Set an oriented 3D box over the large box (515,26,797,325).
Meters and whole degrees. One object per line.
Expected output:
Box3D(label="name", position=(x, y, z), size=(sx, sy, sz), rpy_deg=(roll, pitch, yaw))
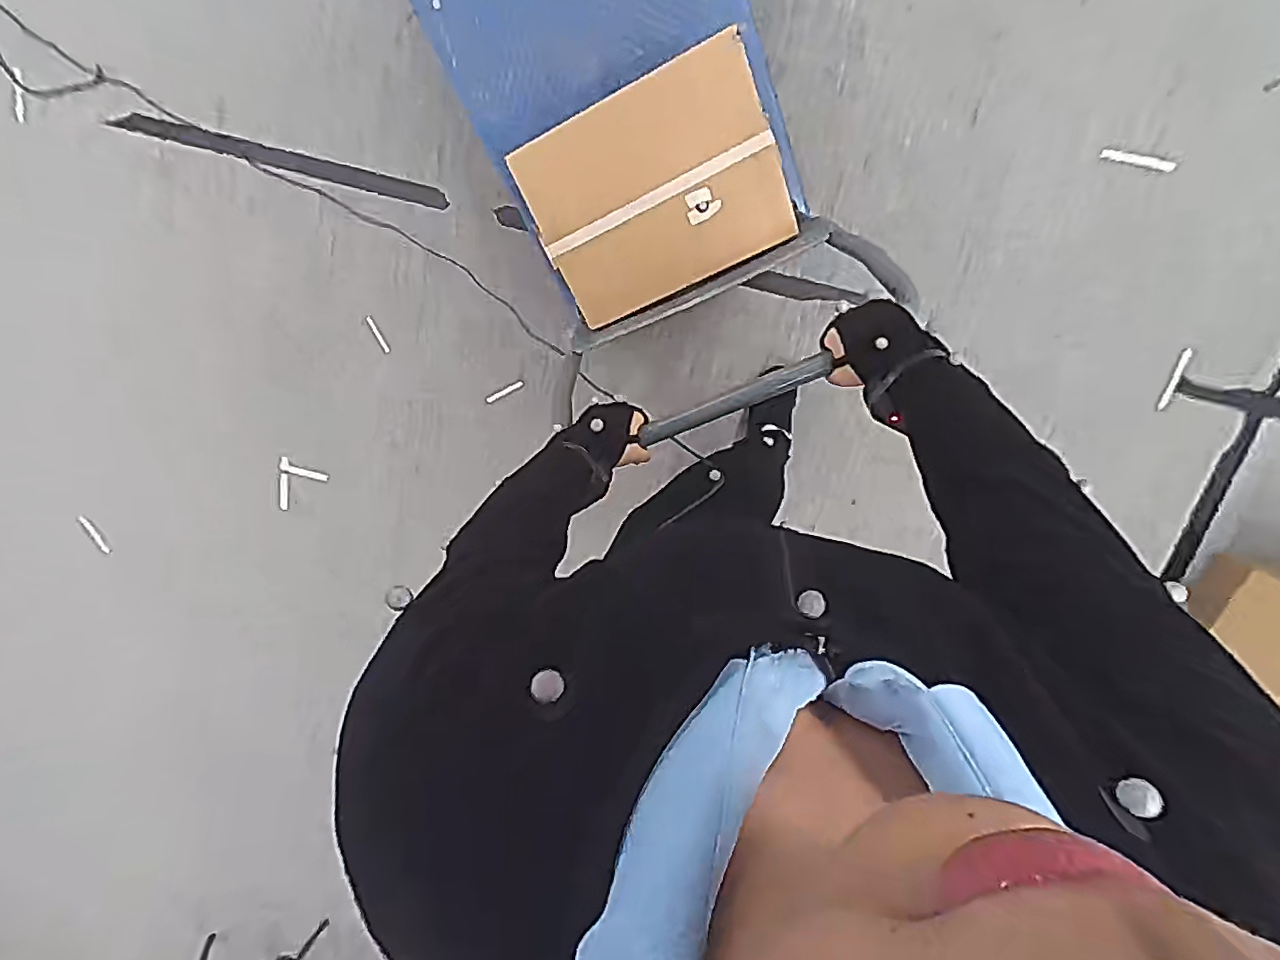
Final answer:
Box3D(label="large box", position=(0.032, -0.555, 1.048), size=(0.408, 0.320, 0.320), rpy_deg=(-23, 116, 12))
